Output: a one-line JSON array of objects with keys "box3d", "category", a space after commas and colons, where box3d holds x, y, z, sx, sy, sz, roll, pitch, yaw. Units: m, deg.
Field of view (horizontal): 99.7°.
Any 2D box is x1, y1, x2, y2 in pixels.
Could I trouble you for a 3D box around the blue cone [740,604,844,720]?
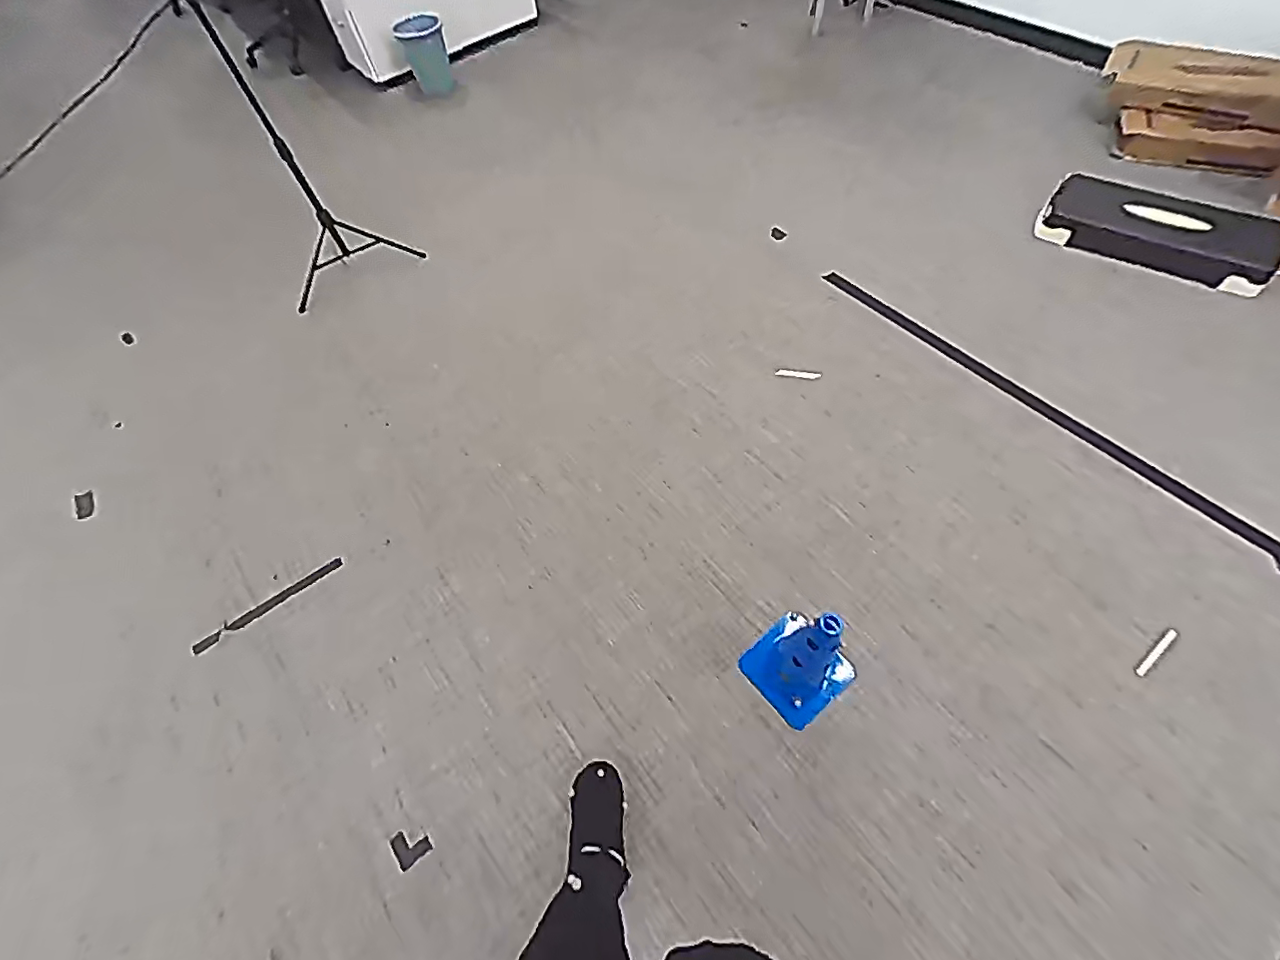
[{"box3d": [0.333, 0.337, 1.099, 0.193, 0.380, 0.192, -35, 61, -15], "category": "blue cone"}]
